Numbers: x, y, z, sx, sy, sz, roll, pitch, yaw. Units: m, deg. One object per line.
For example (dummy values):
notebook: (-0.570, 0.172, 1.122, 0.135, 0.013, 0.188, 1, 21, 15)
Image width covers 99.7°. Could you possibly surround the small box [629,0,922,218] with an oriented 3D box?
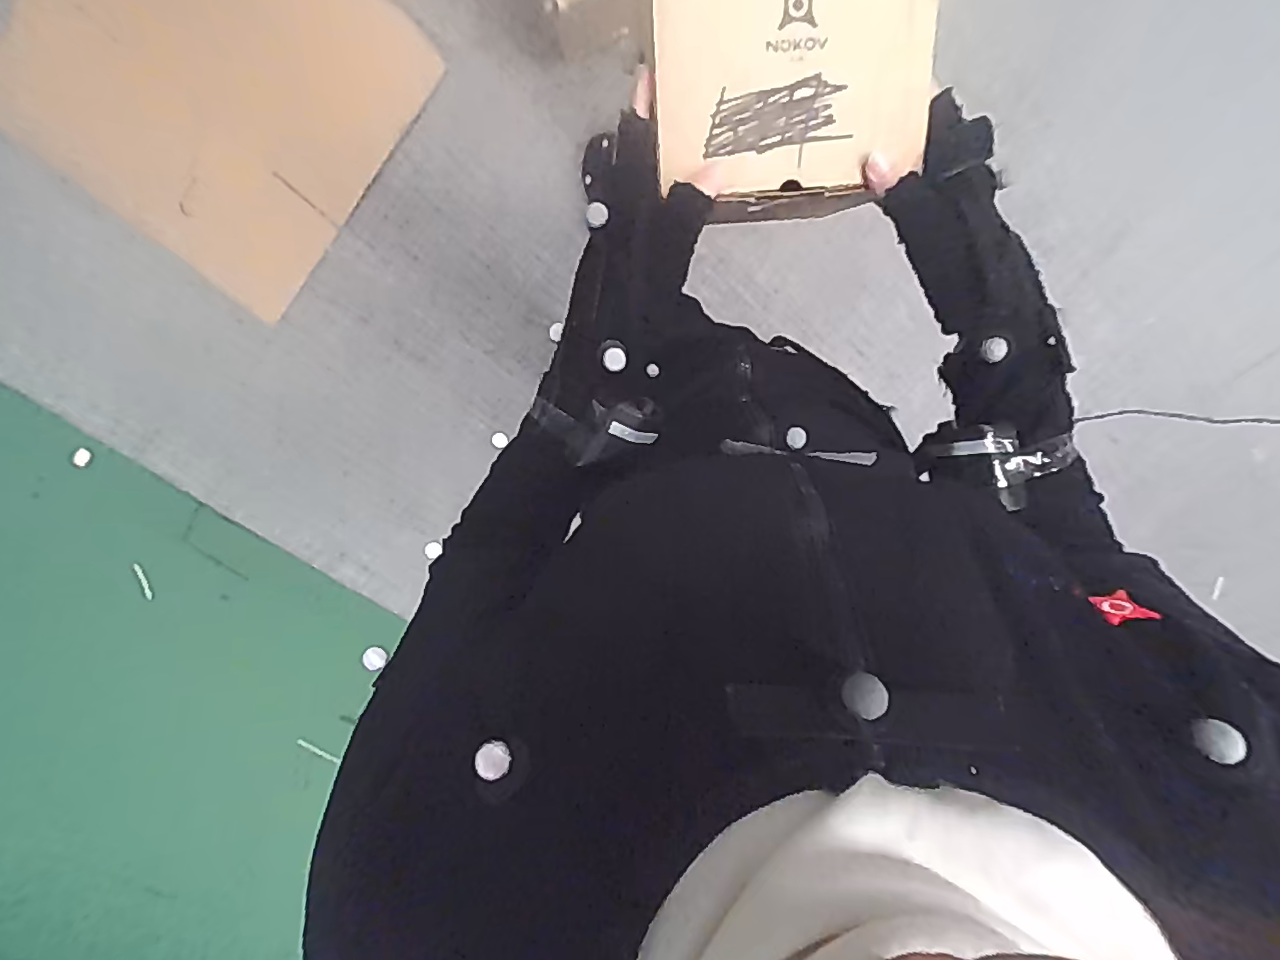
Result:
small box: (0.079, -0.293, 0.387, 0.168, 0.176, 0.179, -4, 108, -1)
